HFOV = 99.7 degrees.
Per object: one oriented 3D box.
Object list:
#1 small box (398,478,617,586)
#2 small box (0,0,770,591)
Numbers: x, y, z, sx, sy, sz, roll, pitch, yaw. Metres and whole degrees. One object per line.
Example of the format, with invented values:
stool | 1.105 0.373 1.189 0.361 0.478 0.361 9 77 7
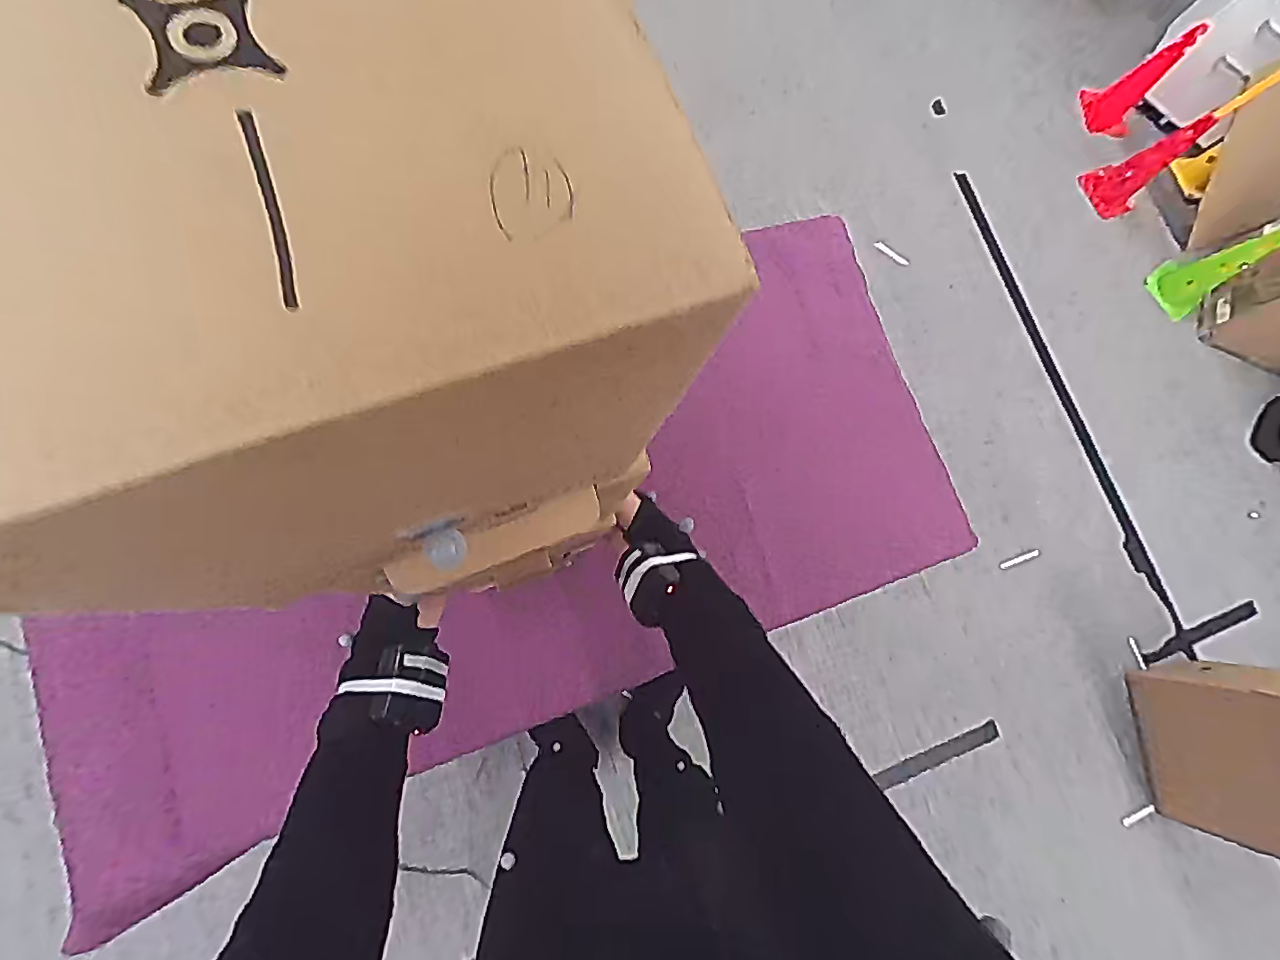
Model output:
small box | -0.134 -0.010 0.493 0.168 0.176 0.179 -17 82 -13
small box | -0.095 -0.074 0.172 0.168 0.176 0.179 -21 83 -14
